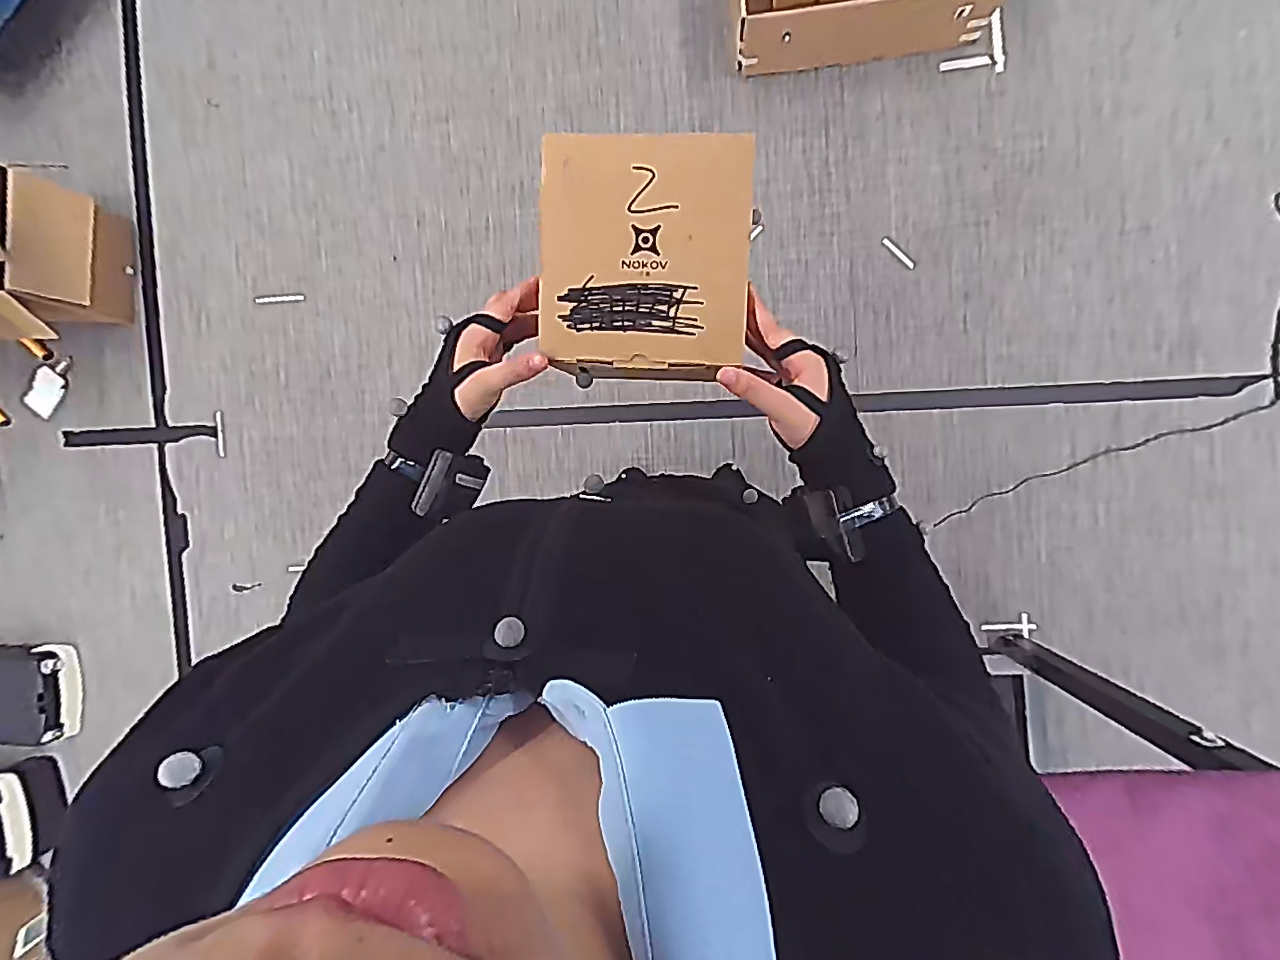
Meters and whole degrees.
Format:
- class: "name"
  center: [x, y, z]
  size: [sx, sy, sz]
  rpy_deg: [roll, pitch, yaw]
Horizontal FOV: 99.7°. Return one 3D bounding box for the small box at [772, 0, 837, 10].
- class: "small box"
  center: [0.407, -1.277, 1.295]
  size: [0.168, 0.176, 0.179]
  rpy_deg: [-6, 91, 4]
